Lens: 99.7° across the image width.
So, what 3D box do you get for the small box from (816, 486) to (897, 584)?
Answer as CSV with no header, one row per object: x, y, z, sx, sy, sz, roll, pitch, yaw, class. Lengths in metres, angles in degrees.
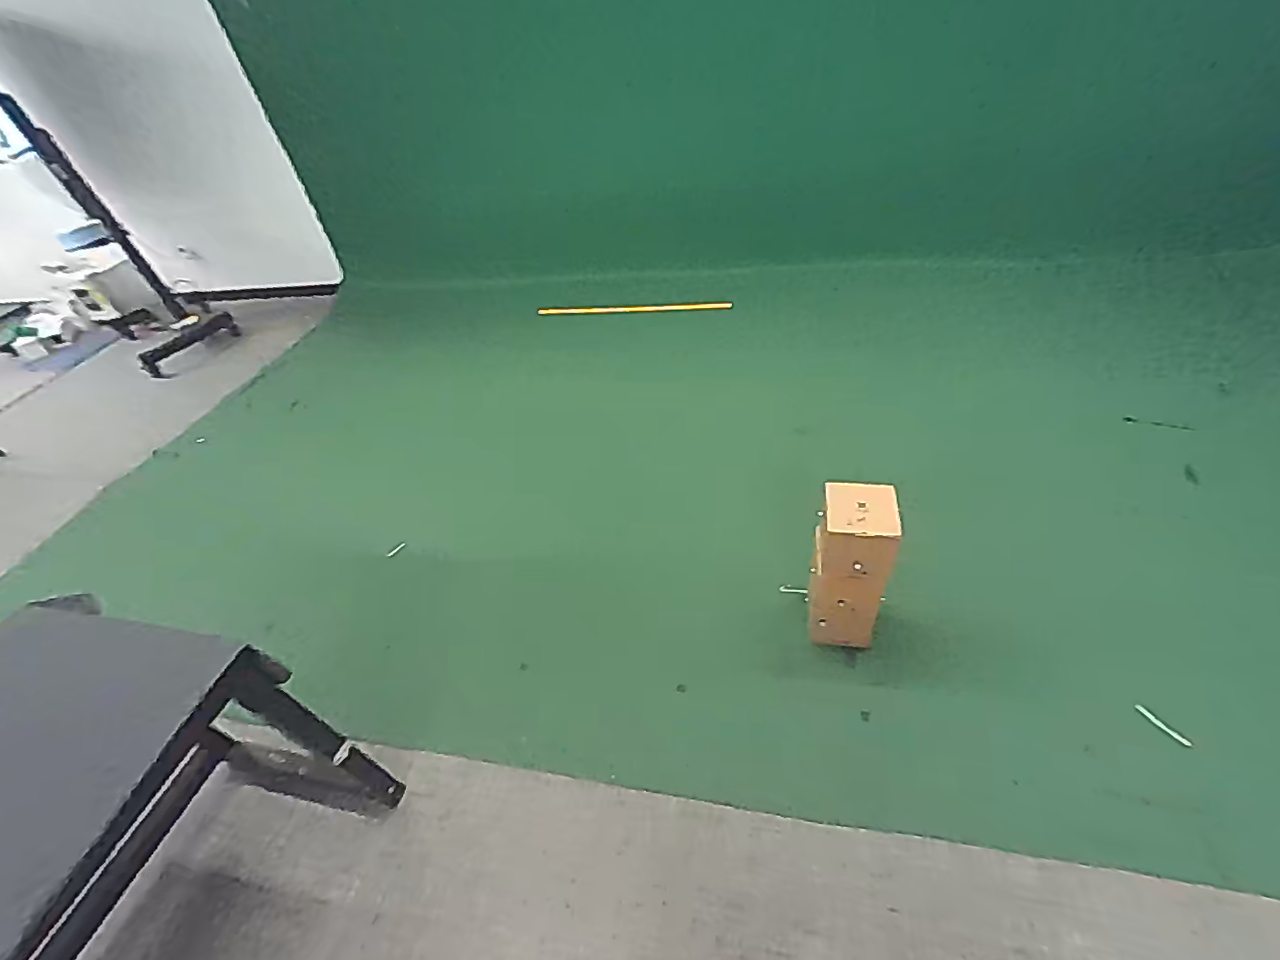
0.546,0.139,1.385,0.168,0.176,0.179,4,44,13,small box

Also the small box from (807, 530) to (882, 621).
0.556,0.263,1.494,0.168,0.176,0.179,3,43,12,small box
